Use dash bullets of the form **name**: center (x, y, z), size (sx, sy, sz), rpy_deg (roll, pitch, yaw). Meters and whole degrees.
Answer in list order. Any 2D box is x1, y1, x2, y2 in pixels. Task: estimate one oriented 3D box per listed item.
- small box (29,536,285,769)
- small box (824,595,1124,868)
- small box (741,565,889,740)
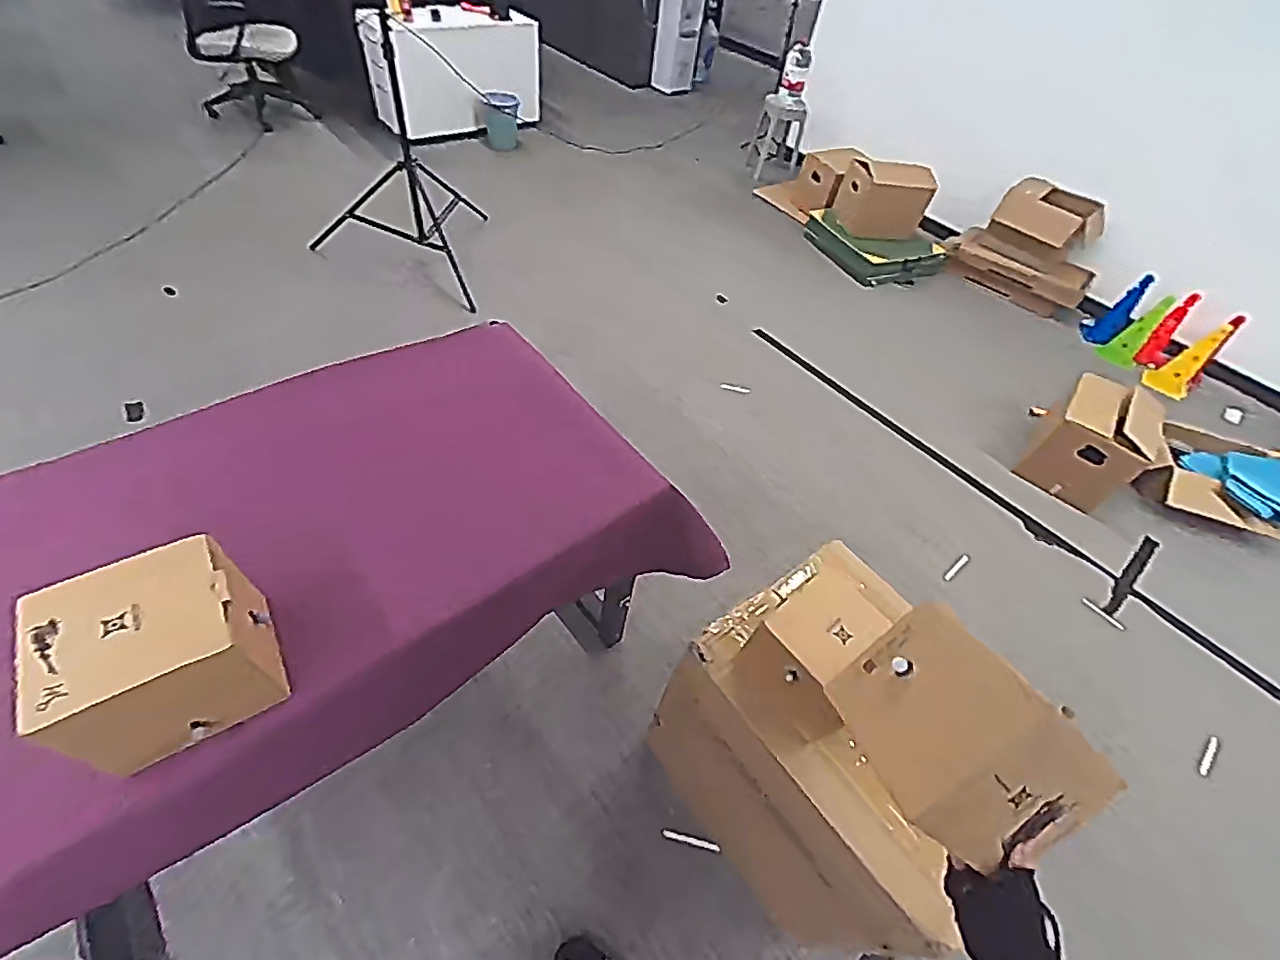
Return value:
- **small box**: center (-0.548, 0.203, 0.638), size (0.179, 0.176, 0.168), rpy_deg (-23, 57, -26)
- **small box**: center (0.336, 0.255, 0.573), size (0.179, 0.168, 0.176), rpy_deg (39, 10, -22)
- **small box**: center (0.285, 0.273, 0.850), size (0.168, 0.176, 0.179), rpy_deg (-31, 63, -27)
